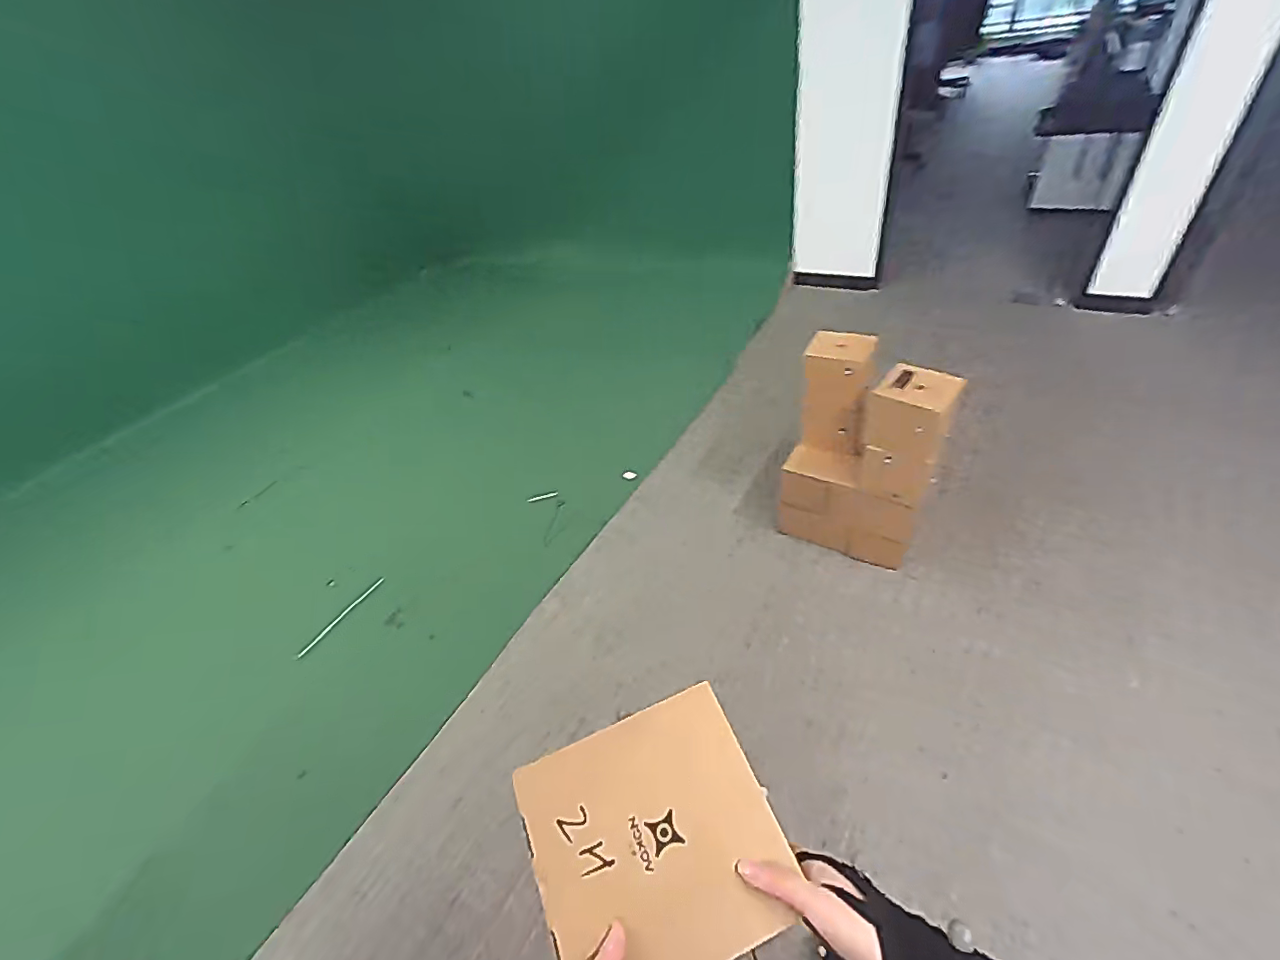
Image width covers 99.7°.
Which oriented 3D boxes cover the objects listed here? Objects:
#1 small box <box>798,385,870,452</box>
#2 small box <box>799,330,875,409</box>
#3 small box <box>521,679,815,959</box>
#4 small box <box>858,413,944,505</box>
[{"bbox_3d":[0.623,-0.210,1.744,0.179,0.176,0.168,15,46,28],"label":"small box"},{"bbox_3d":[0.595,-0.335,1.643,0.179,0.176,0.168,16,47,27],"label":"small box"},{"bbox_3d":[0.019,0.299,0.465,0.179,0.176,0.168,-21,56,-8],"label":"small box"},{"bbox_3d":[0.742,-0.061,1.549,0.168,0.176,0.179,21,50,31],"label":"small box"}]
